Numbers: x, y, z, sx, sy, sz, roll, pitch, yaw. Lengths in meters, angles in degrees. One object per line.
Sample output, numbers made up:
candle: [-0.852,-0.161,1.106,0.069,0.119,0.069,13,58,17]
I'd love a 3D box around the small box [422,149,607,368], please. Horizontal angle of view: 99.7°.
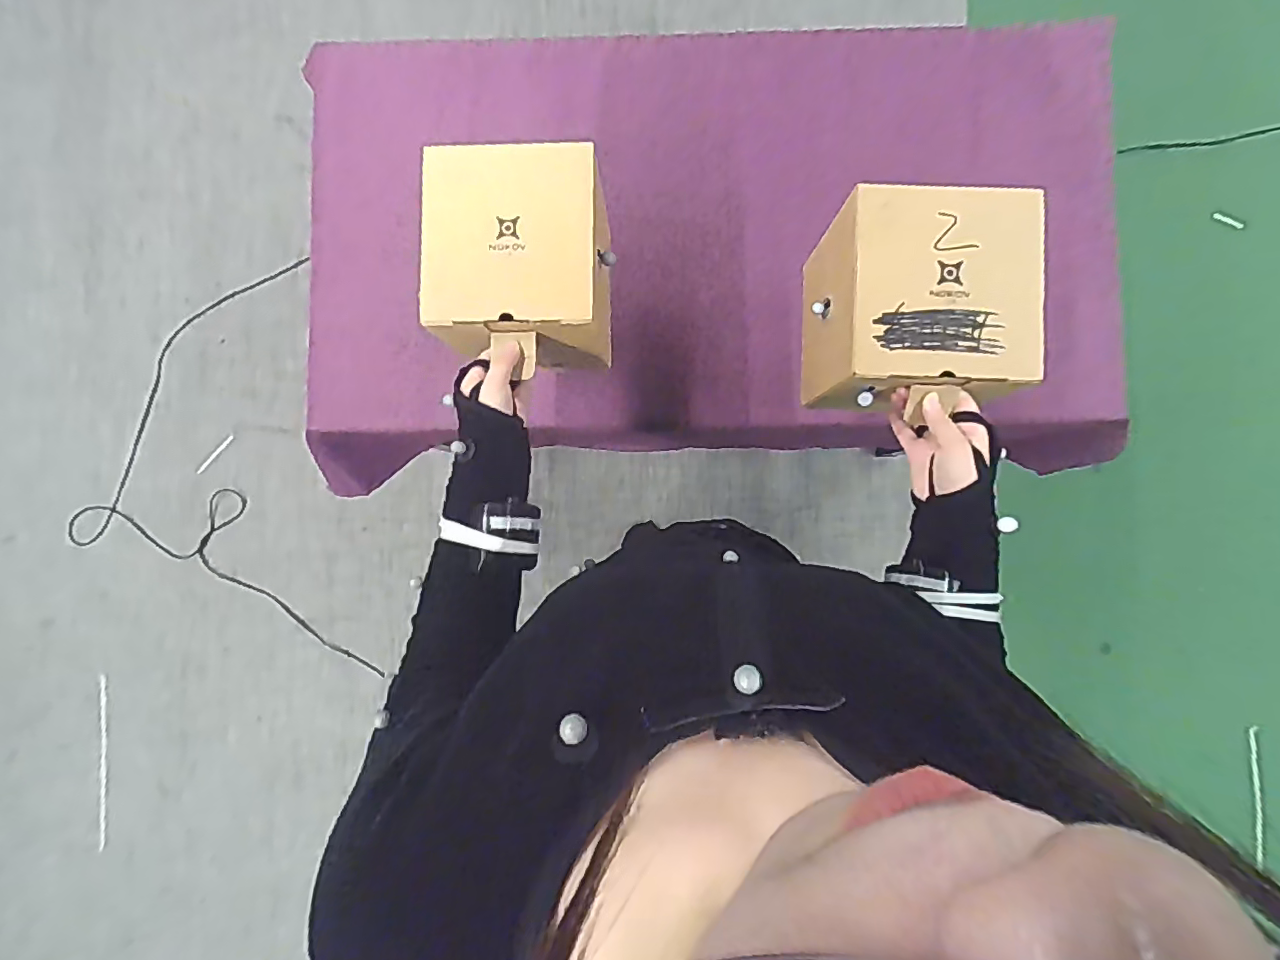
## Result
small box: [-0.127,-0.234,0.606,0.168,0.176,0.179,0,87,2]
